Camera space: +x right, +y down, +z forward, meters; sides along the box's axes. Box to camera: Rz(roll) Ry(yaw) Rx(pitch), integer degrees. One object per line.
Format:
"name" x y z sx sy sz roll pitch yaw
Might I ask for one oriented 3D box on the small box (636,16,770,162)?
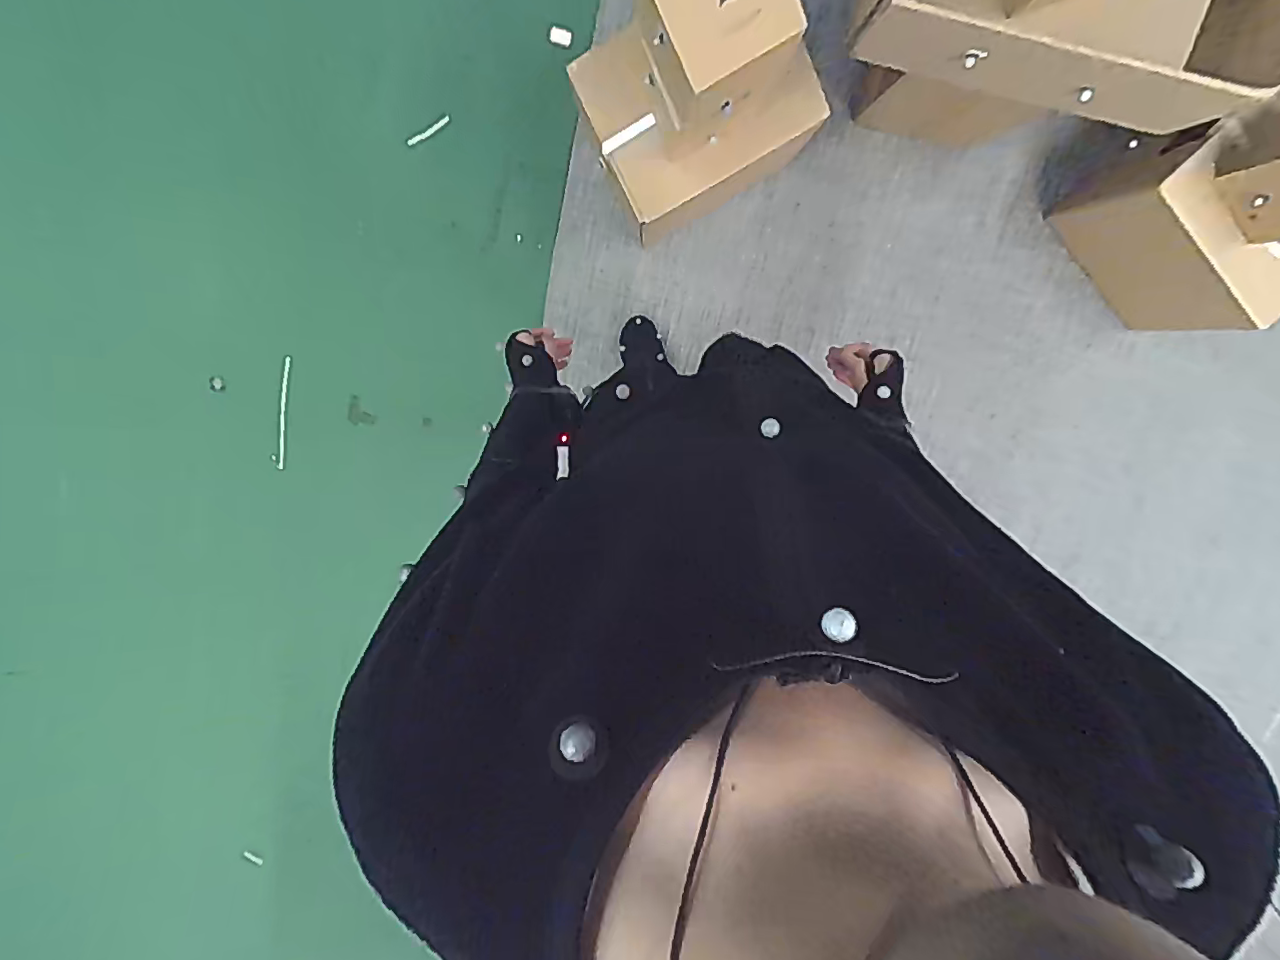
"small box" 0.100 -0.683 0.916 0.168 0.176 0.179 -24 104 7

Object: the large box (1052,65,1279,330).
"large box" 1.249 -0.582 1.192 0.408 0.320 0.320 42 102 -12

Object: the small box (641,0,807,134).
"small box" 0.106 -0.637 0.760 0.168 0.176 0.179 -26 104 8

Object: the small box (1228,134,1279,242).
"small box" 1.223 -0.552 0.947 0.179 0.176 0.168 -42 102 10
